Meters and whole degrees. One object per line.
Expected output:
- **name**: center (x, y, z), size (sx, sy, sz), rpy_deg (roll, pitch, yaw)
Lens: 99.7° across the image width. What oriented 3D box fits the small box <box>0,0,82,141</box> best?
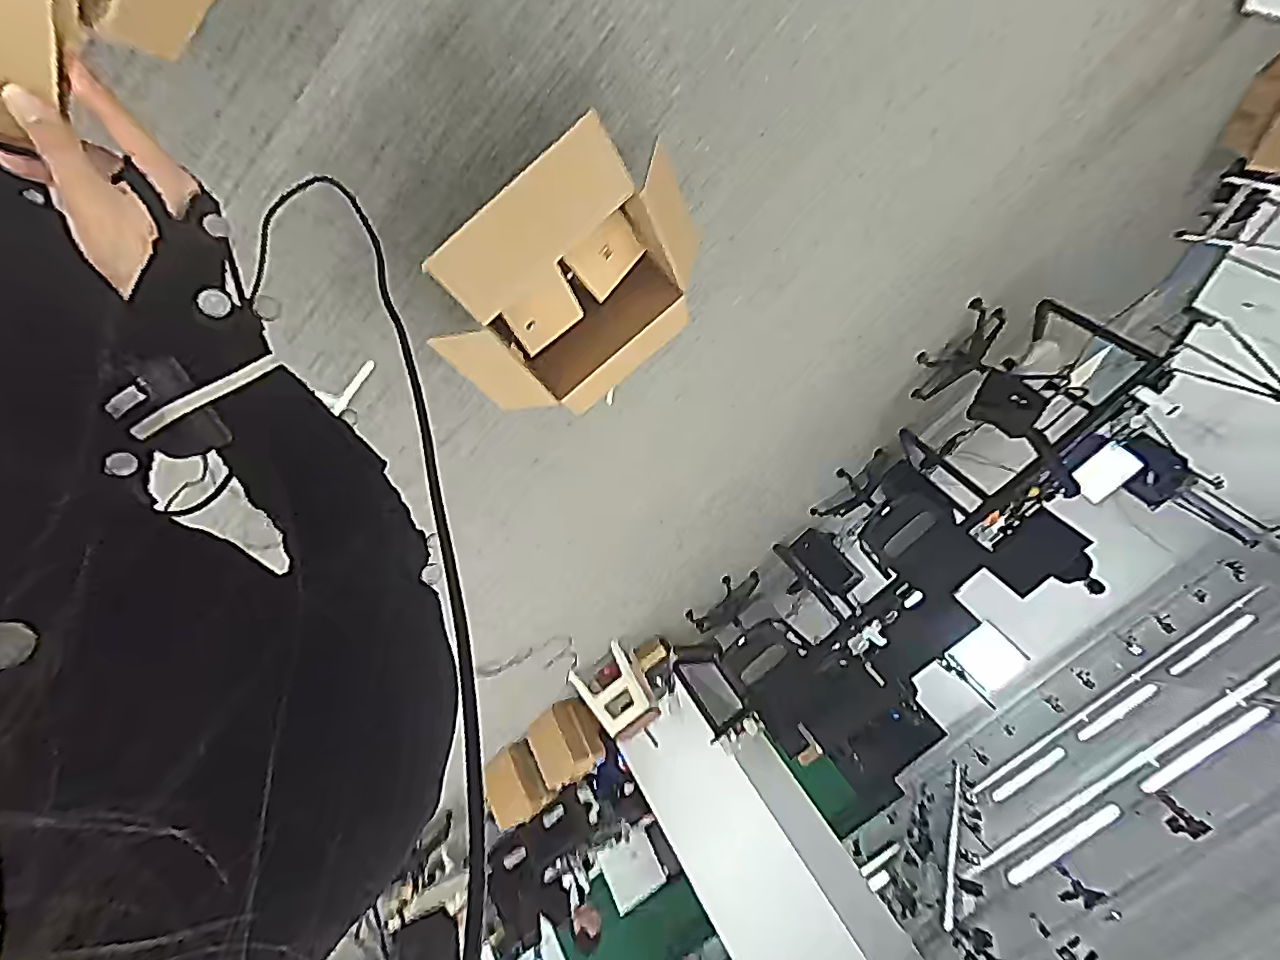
- **small box**: center (-0.378, -0.292, 0.239), size (0.179, 0.176, 0.168), rpy_deg (0, 130, -44)
